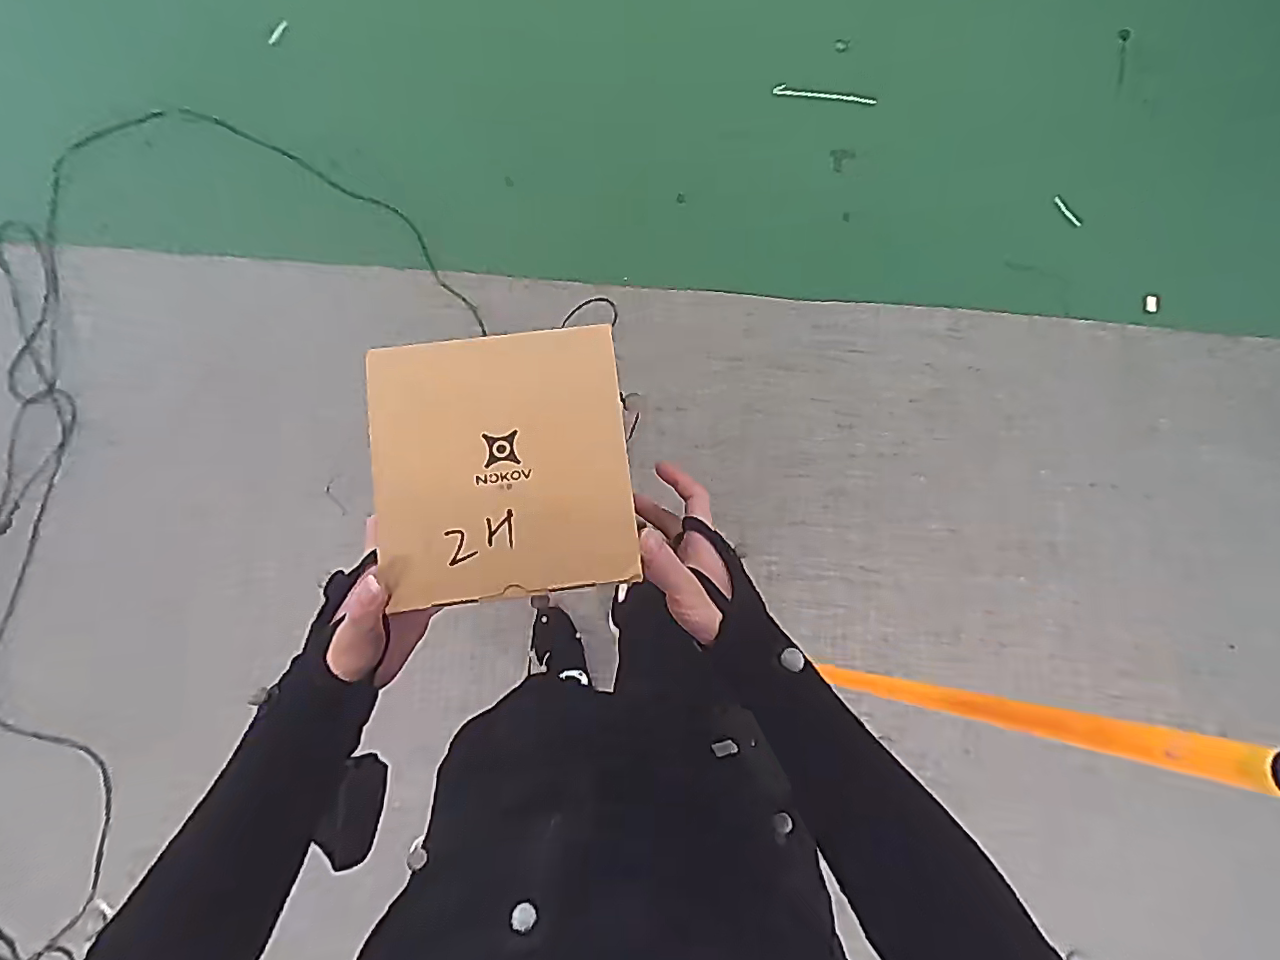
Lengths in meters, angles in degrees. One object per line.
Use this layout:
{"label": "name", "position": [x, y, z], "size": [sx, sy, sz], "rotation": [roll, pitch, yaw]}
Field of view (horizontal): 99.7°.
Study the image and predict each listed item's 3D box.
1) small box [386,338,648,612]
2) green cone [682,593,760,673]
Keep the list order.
{"label": "small box", "position": [-0.087, 0.005, 0.438], "size": [0.168, 0.176, 0.179], "rotation": [-6, 82, -2]}
{"label": "green cone", "position": [0.221, 0.386, 1.271], "size": [0.202, 0.368, 0.200], "rotation": [3, 83, -2]}
